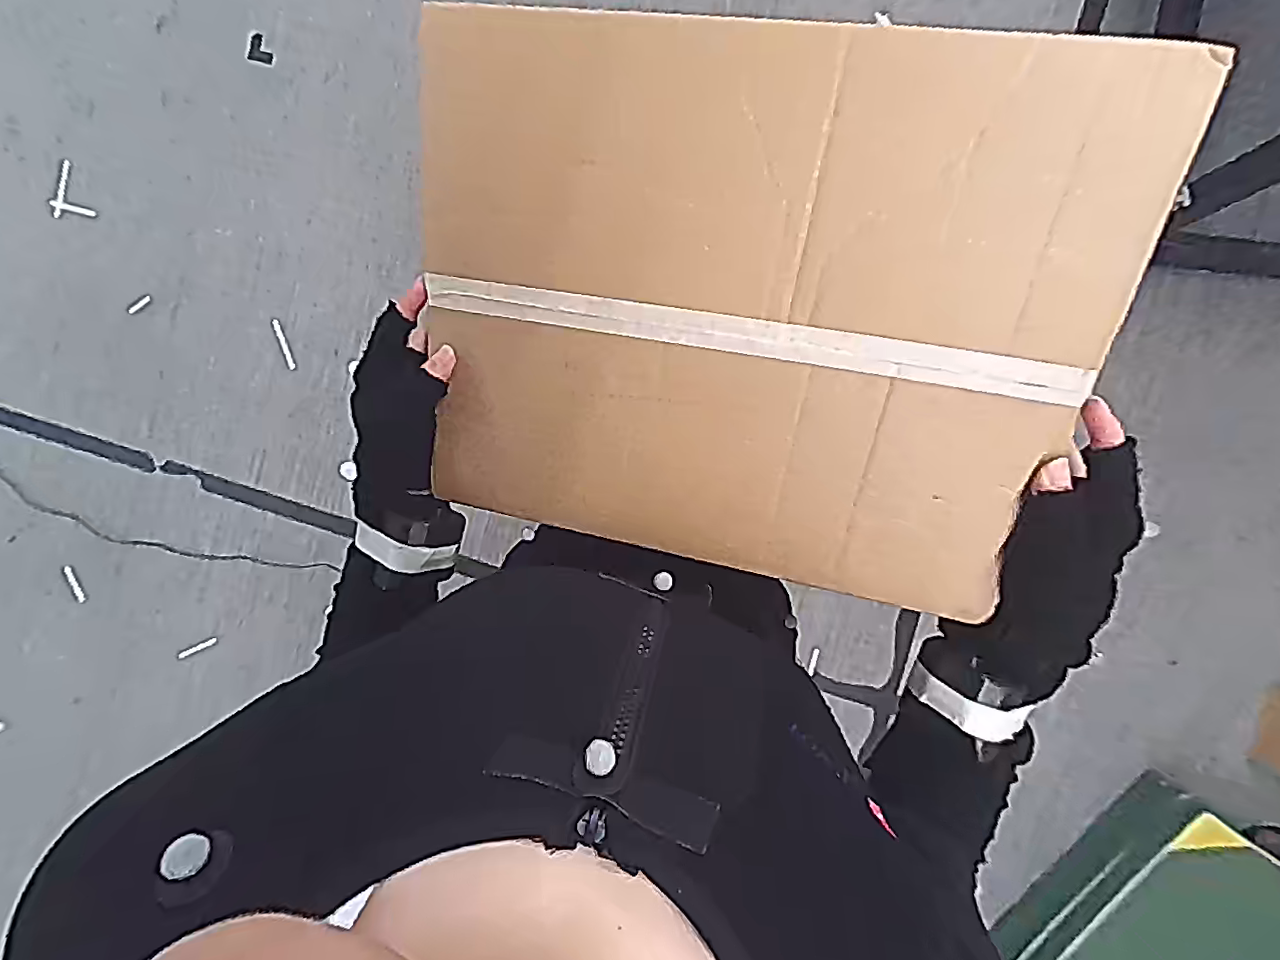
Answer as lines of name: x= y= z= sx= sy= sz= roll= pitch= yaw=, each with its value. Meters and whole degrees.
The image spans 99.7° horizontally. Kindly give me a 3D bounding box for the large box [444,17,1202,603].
large box: x=0.089 y=-0.143 z=0.478 sx=0.408 sy=0.320 sz=0.320 roll=13 pitch=113 yaw=10
